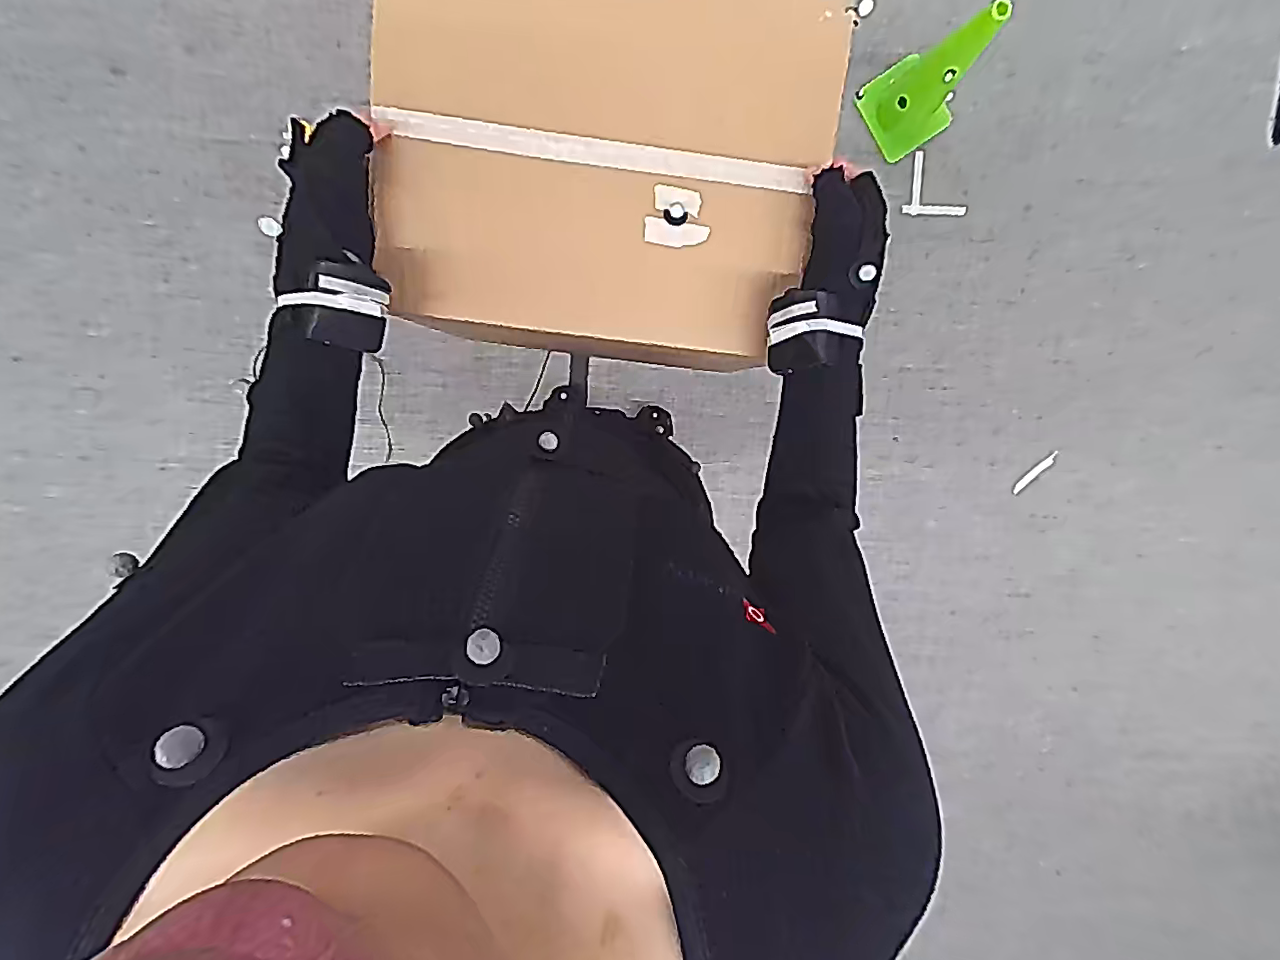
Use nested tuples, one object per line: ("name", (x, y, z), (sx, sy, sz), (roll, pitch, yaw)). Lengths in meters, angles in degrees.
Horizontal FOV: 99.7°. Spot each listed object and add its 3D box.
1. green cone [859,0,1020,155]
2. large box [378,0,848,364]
("green cone", (0.693, -0.941, 1.208), (0.202, 0.368, 0.200), (-35, 99, 0))
("large box", (-0.038, -0.317, 0.628), (0.408, 0.320, 0.320), (6, 99, -5))
